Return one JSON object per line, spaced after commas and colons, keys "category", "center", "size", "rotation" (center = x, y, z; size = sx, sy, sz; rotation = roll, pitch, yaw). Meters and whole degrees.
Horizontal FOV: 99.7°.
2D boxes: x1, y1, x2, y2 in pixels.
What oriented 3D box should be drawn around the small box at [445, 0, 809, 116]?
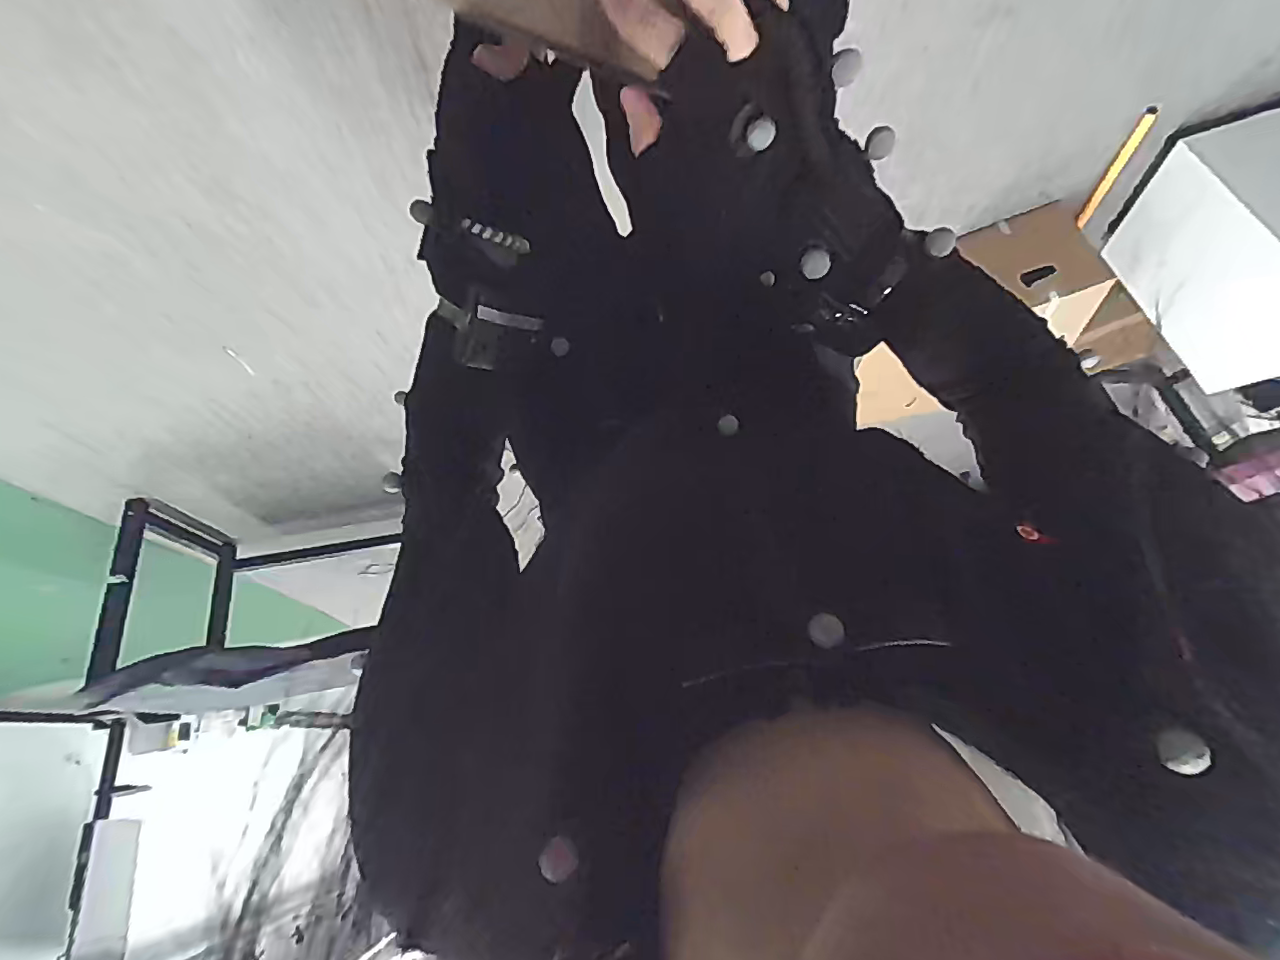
{"category": "small box", "center": [-0.017, -0.290, 0.222], "size": [0.179, 0.168, 0.176], "rotation": [-16, 145, -39]}
